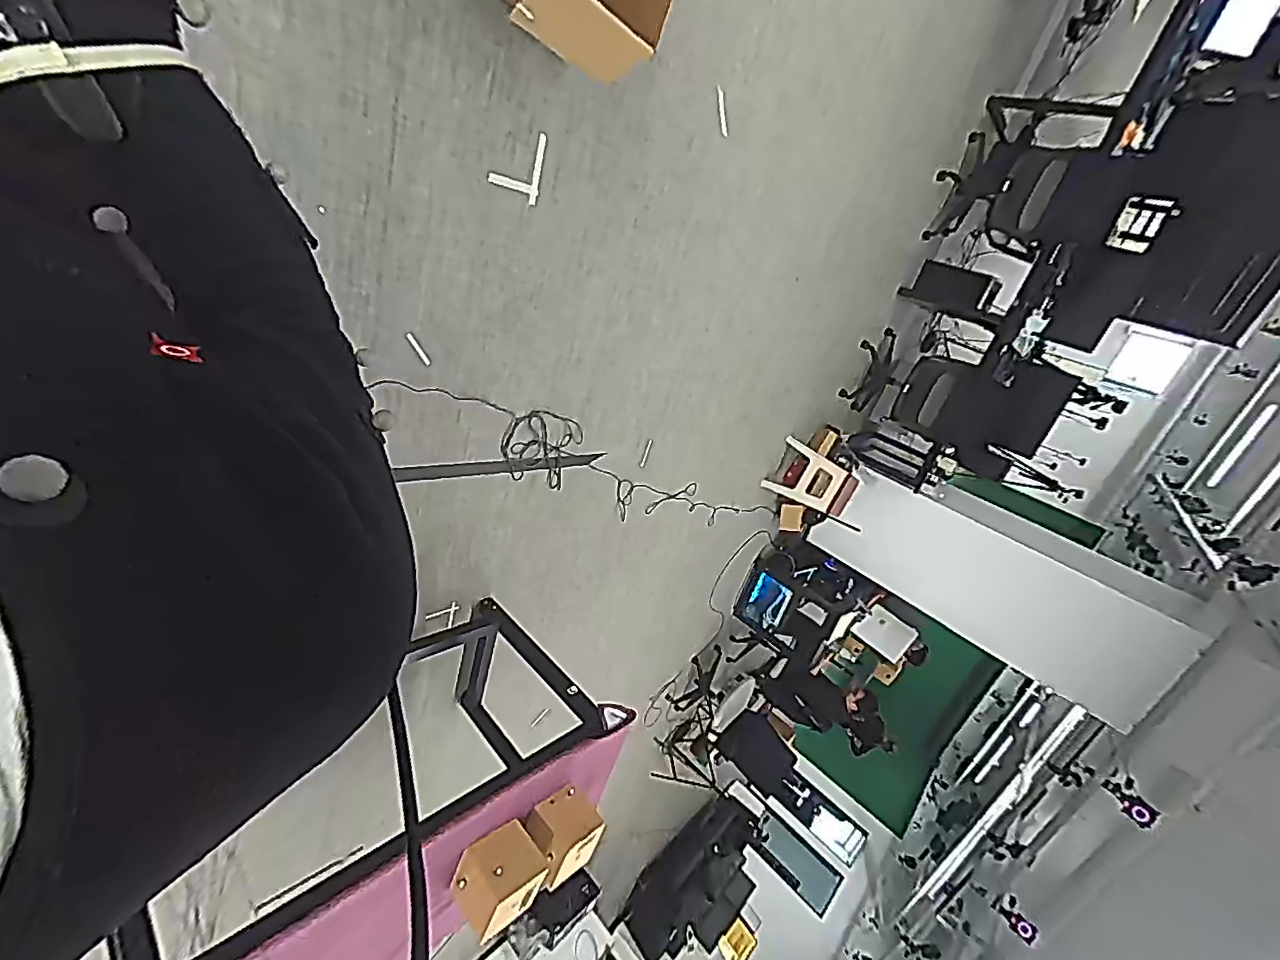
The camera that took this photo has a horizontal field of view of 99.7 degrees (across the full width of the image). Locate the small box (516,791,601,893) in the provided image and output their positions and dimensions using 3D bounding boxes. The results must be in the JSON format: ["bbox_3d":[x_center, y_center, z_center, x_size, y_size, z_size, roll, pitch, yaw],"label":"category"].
[{"bbox_3d":[-0.255,1.096,1.661,0.168,0.176,0.179,-1,118,-52],"label":"small box"}]
